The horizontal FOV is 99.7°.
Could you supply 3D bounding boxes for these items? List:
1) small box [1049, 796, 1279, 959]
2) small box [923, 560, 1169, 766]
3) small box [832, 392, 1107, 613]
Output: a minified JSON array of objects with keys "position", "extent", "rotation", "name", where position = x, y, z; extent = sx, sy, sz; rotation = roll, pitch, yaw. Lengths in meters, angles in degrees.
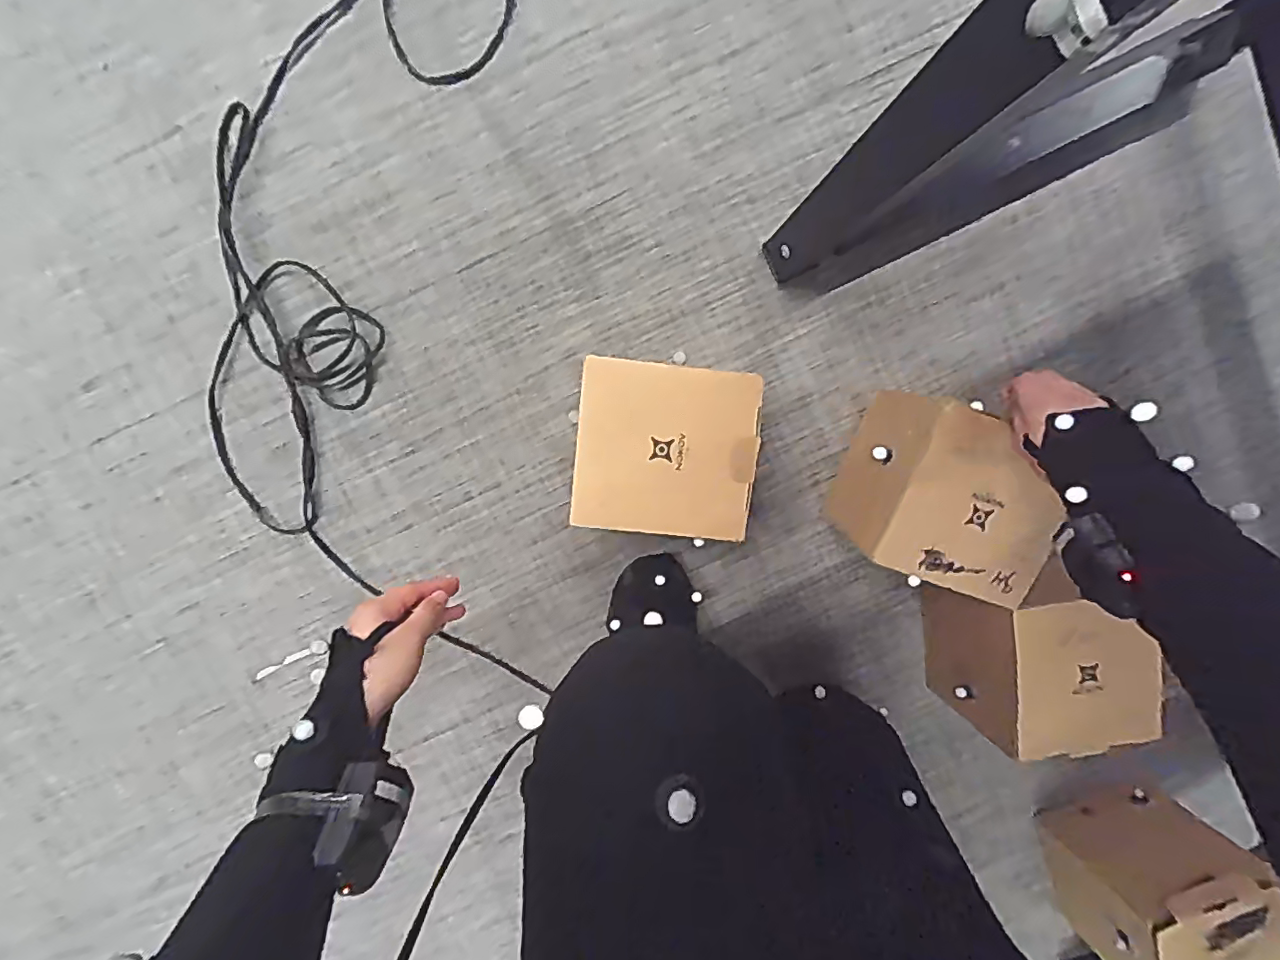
[{"position":[0.672,0.543,0.690],"extent":[0.168,0.176,0.179],"rotation":[-20,98,0],"name":"small box"},{"position":[0.465,0.198,0.642],"extent":[0.168,0.176,0.179],"rotation":[-9,96,-3],"name":"small box"},{"position":[0.339,0.011,0.602],"extent":[0.168,0.176,0.179],"rotation":[19,105,-3],"name":"small box"}]
